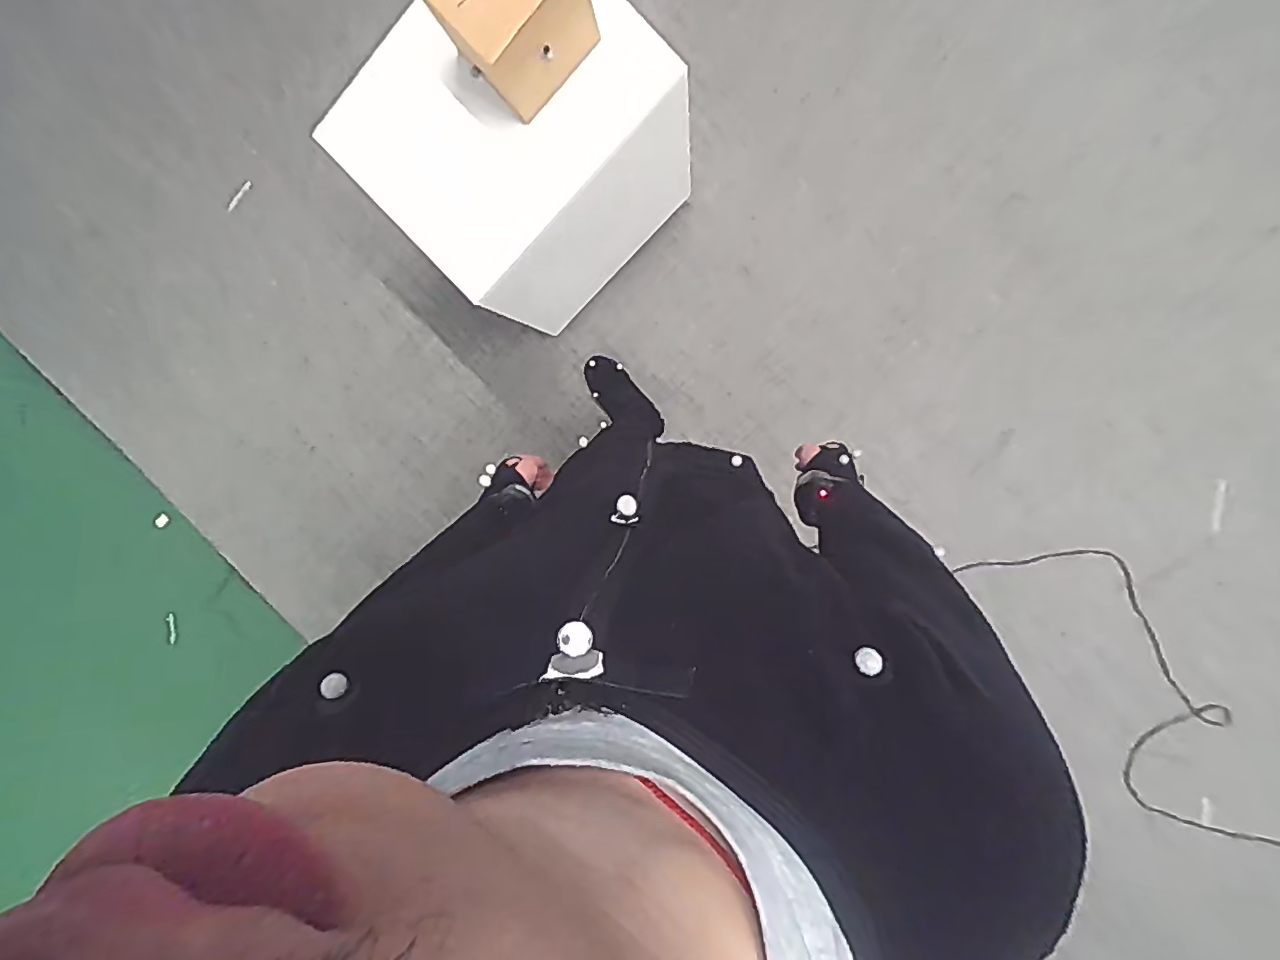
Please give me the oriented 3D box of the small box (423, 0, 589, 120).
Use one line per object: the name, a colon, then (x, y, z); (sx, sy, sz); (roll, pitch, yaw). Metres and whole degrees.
small box: (-0.188, -0.672, 0.767); (0.179, 0.176, 0.168); (-43, 93, 10)
